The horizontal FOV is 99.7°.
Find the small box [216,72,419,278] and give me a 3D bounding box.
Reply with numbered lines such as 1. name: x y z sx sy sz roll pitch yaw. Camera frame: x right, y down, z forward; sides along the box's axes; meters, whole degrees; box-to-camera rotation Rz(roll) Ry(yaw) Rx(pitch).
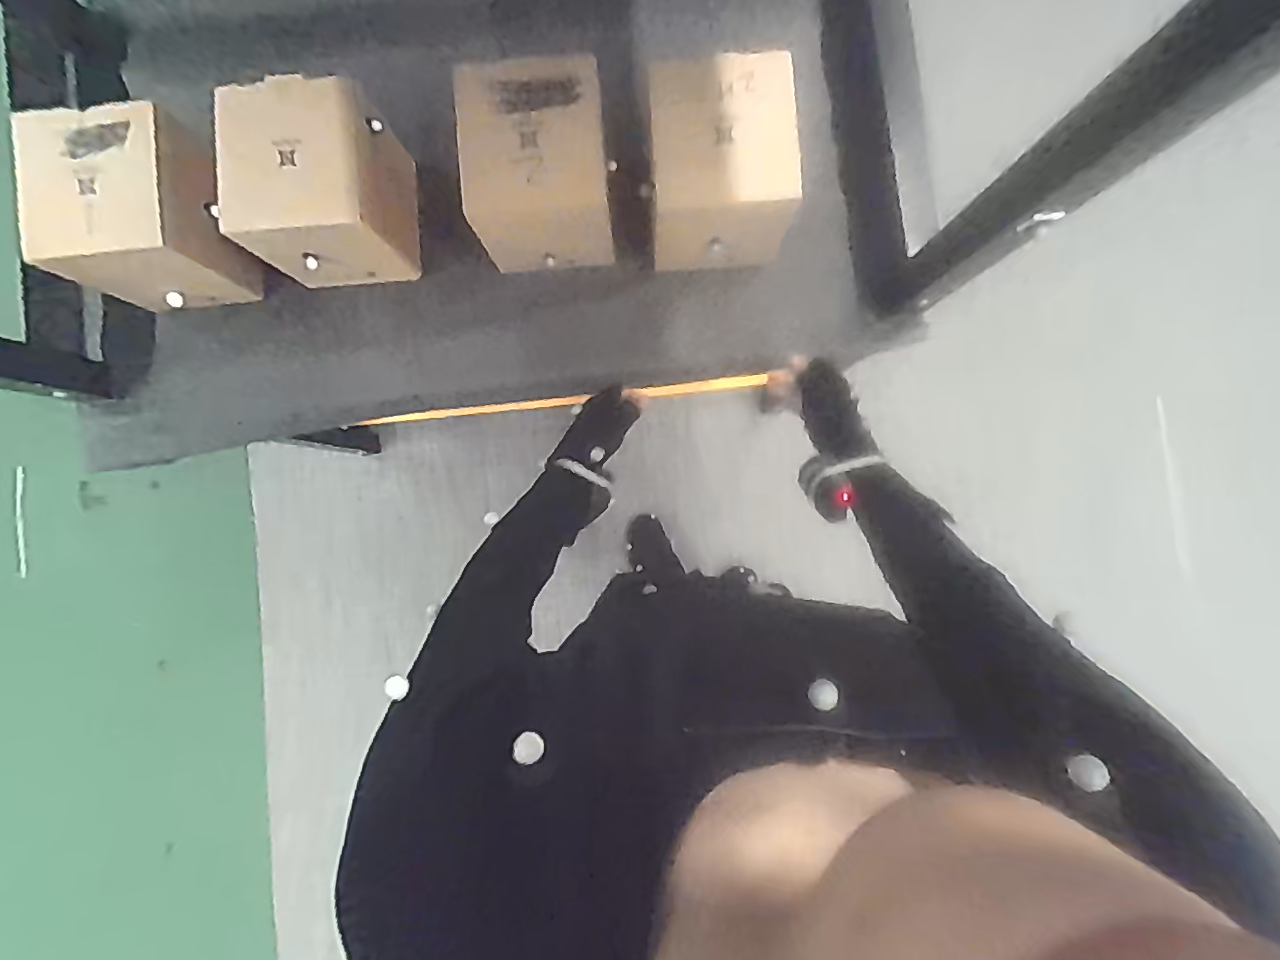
1. small box: -0.402 -0.376 0.702 0.168 0.176 0.179 -4 87 0

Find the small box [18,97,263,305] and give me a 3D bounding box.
1. small box: -0.627 -0.347 0.700 0.168 0.176 0.179 -6 88 0

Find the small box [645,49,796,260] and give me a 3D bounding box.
1. small box: 0.094 -0.398 0.695 0.168 0.176 0.179 -4 87 0
